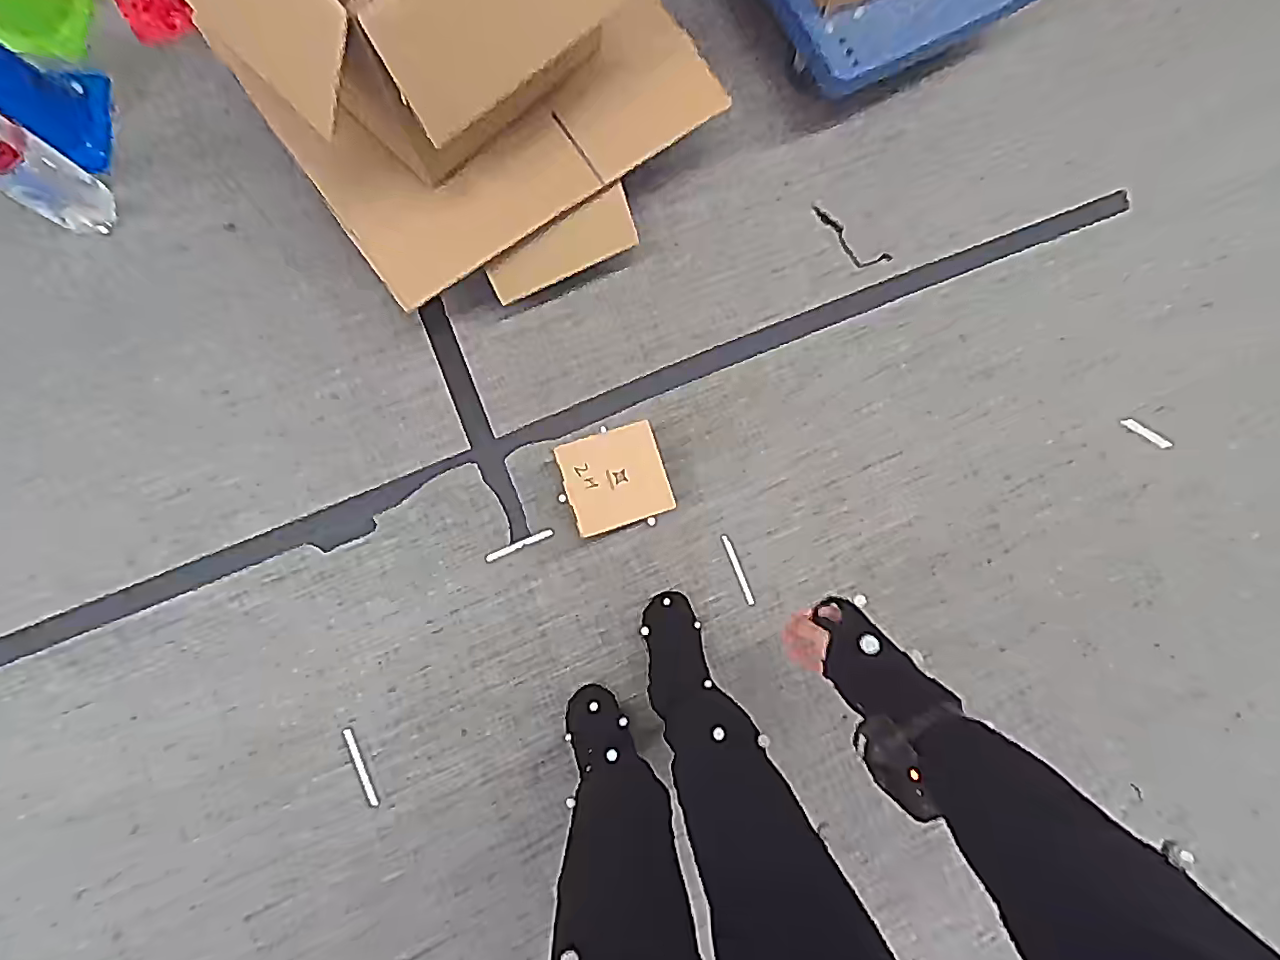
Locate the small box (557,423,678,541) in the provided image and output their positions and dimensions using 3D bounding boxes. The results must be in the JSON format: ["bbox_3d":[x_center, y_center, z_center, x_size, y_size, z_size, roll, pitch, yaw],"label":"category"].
[{"bbox_3d":[-0.049,0.007,1.000,0.179,0.176,0.168,-18,88,-9],"label":"small box"}]
